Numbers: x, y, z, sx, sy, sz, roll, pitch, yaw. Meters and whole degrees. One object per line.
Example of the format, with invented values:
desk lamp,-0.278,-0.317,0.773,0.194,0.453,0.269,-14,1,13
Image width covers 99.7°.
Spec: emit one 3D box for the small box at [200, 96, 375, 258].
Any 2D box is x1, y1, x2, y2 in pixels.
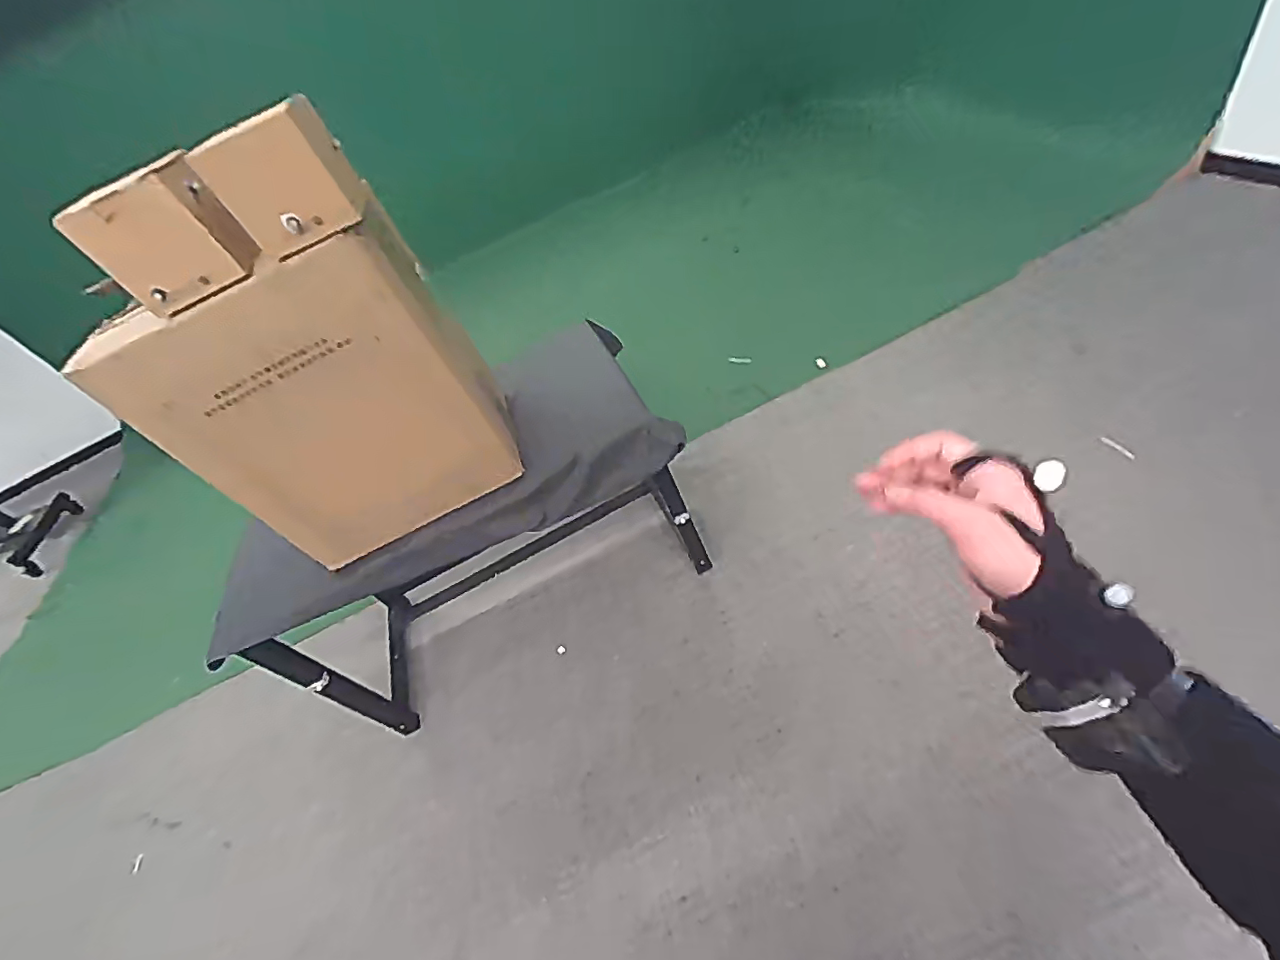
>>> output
small box,-0.568,-0.502,0.902,0.168,0.176,0.179,-26,46,1
